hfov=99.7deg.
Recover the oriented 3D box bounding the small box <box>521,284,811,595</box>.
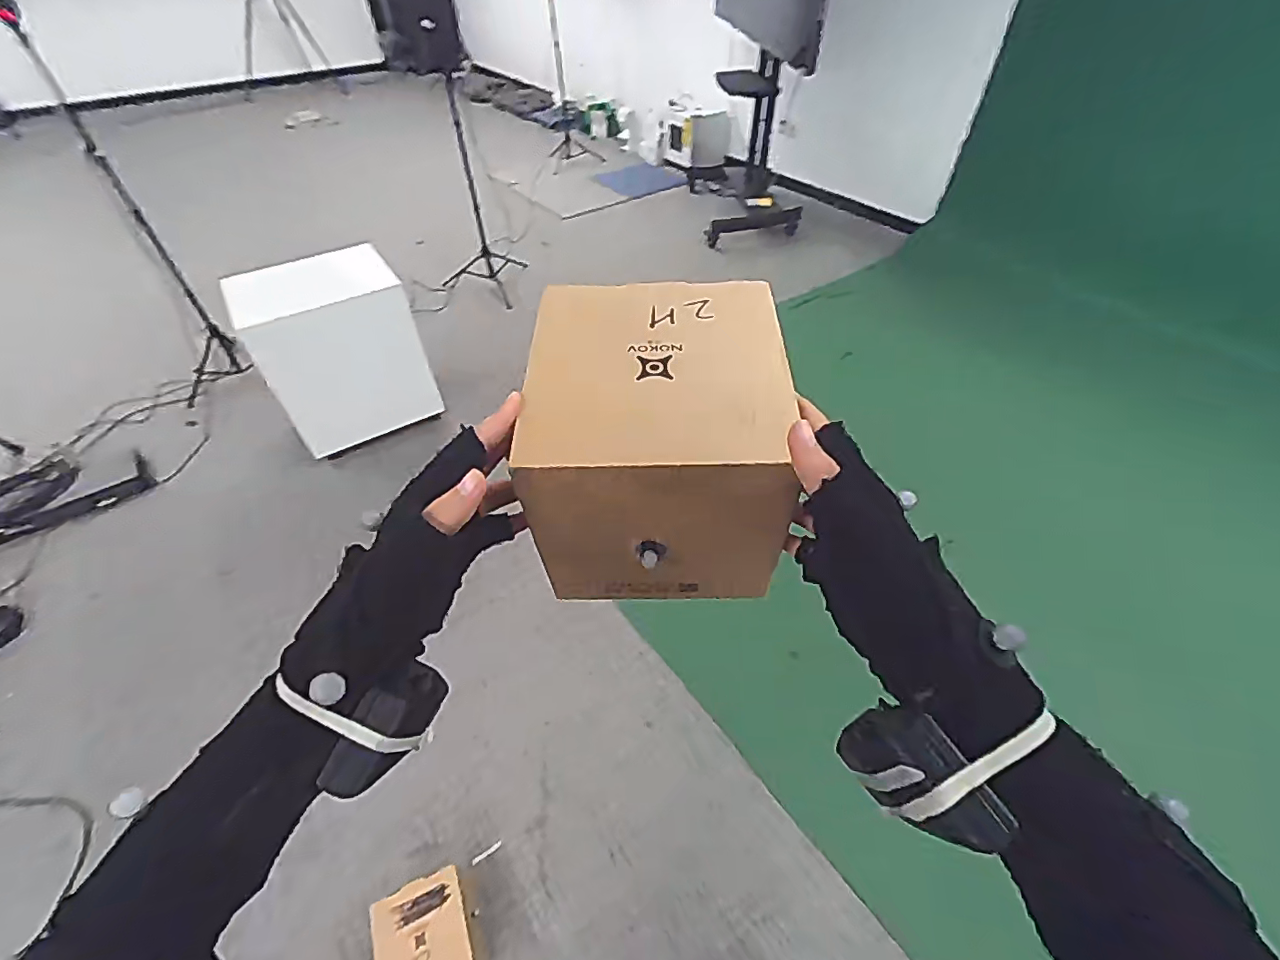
[{"bbox_3d":[0.021,-0.025,0.411,0.168,0.176,0.179,0,52,3],"label":"small box"}]
